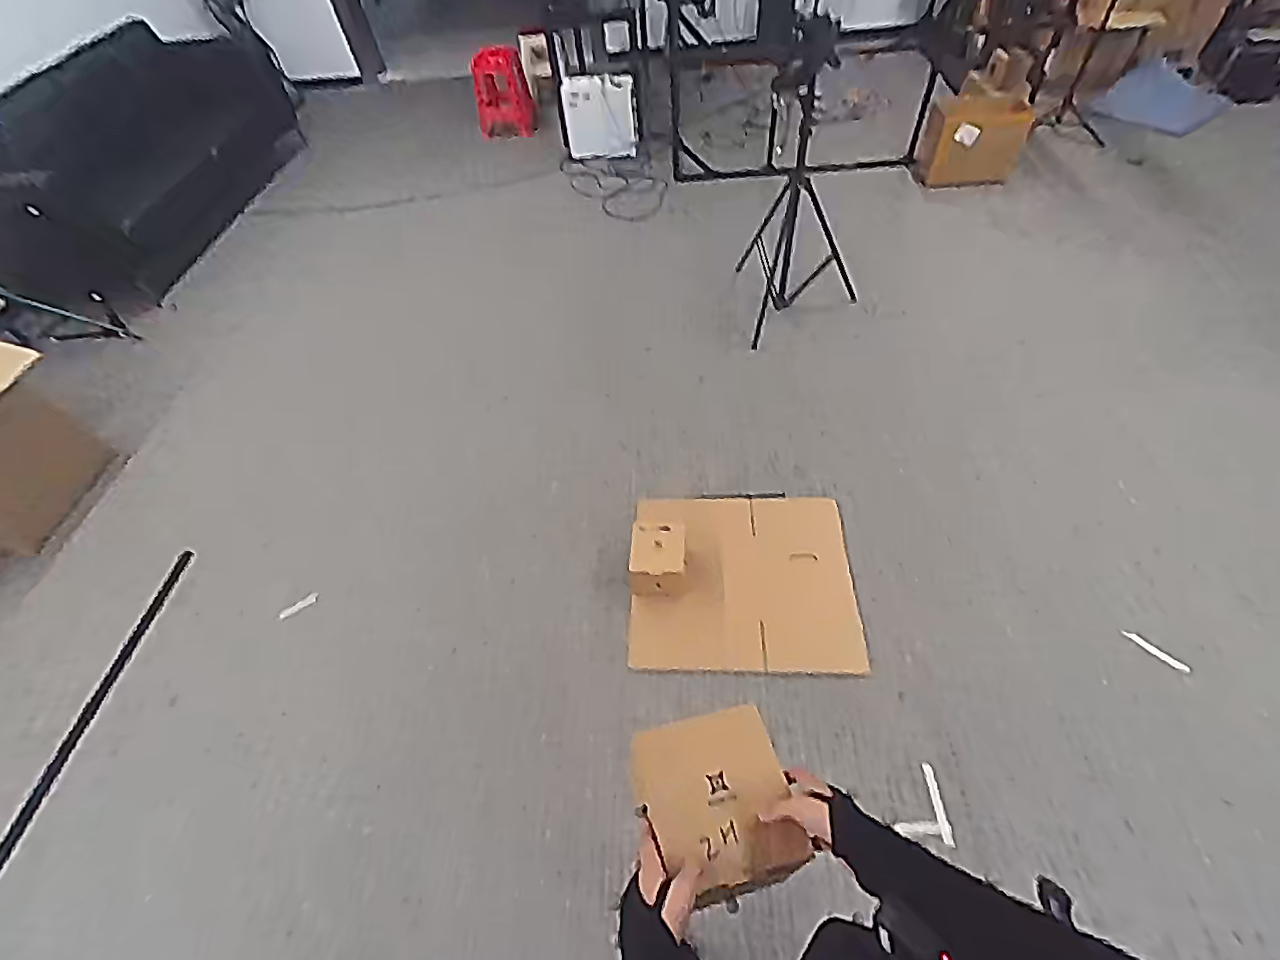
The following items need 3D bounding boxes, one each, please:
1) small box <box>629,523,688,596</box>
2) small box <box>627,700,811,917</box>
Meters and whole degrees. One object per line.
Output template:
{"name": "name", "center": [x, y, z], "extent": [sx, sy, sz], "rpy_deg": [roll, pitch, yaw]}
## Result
{"name": "small box", "center": [0.063, 0.252, 1.691], "extent": [0.168, 0.176, 0.179], "rpy_deg": [1, 54, 7]}
{"name": "small box", "center": [0.081, 0.408, 0.675], "extent": [0.168, 0.176, 0.179], "rpy_deg": [-8, 47, -12]}
